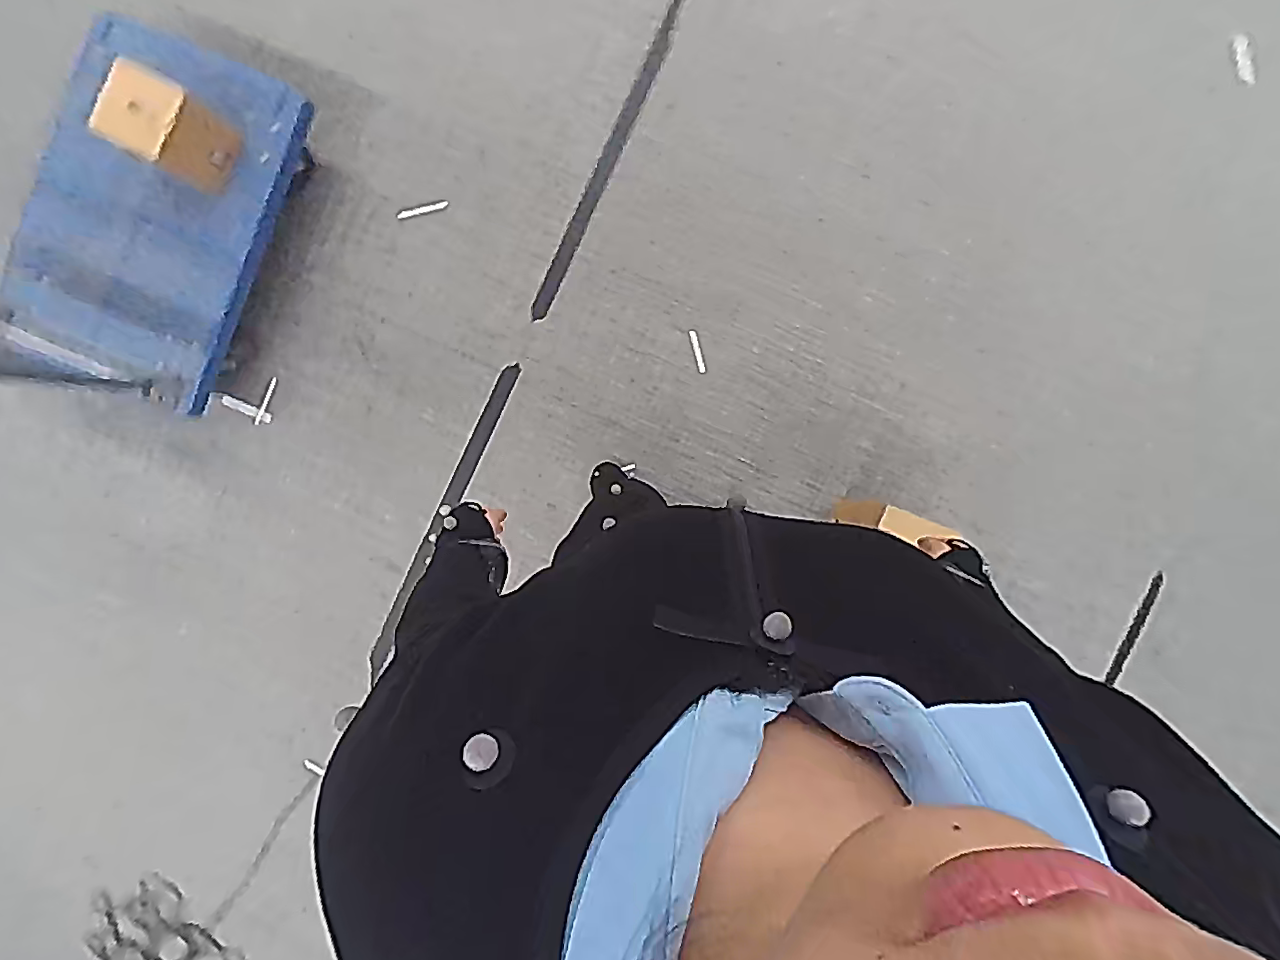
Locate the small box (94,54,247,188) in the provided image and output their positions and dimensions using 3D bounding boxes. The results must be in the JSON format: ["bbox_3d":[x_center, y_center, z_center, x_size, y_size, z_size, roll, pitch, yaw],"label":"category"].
[{"bbox_3d":[-1.071,-0.813,1.247,0.179,0.176,0.168,28,94,1],"label":"small box"}]

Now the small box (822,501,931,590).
[{"bbox_3d":[0.604,0.160,1.400,0.179,0.176,0.168,23,93,2],"label":"small box"}]
